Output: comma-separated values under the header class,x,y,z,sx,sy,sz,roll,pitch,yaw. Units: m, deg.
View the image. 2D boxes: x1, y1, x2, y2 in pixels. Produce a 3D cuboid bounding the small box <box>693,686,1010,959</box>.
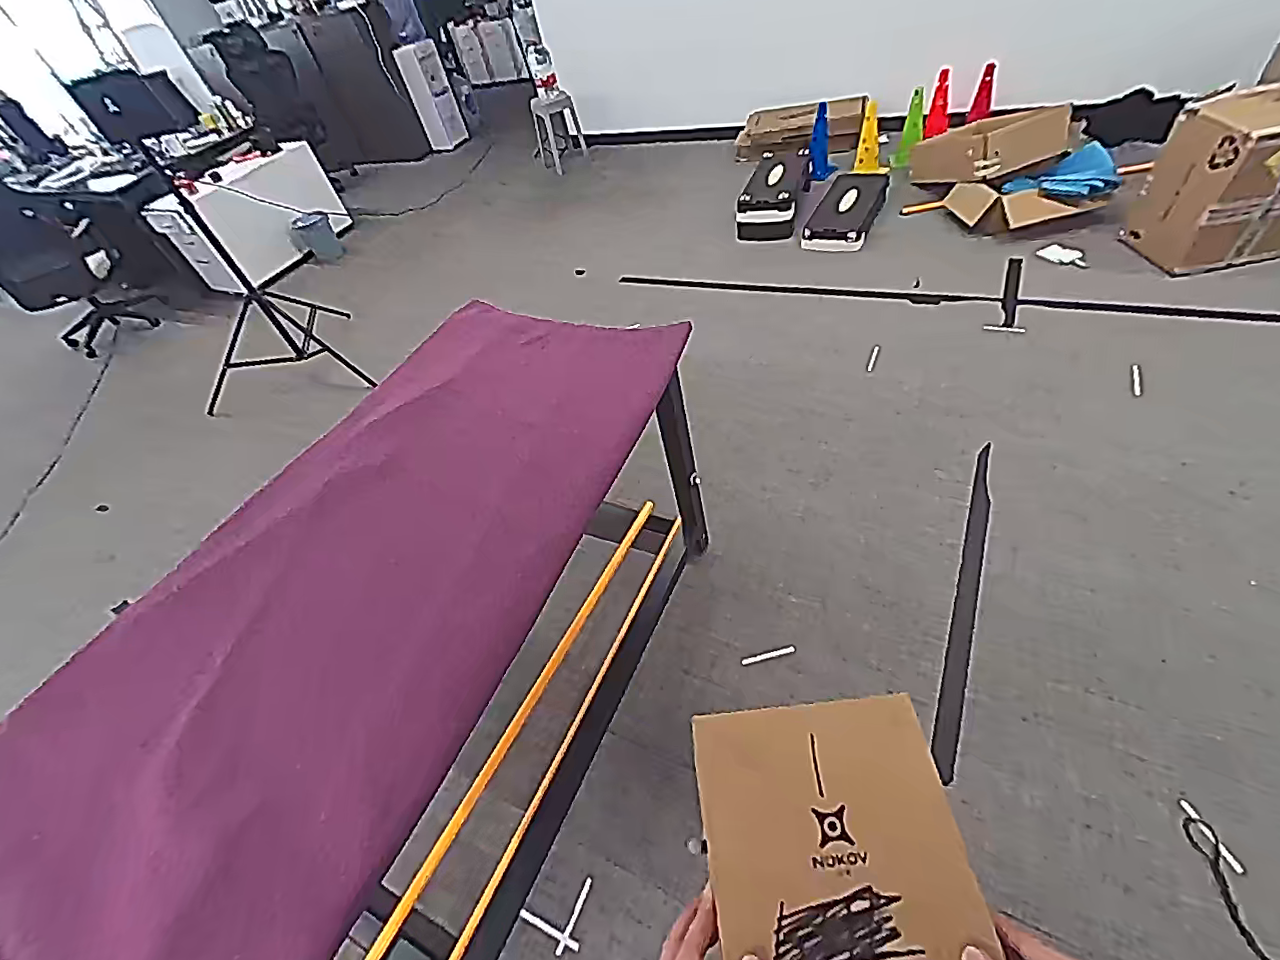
class,x,y,z,sx,sy,sz,roll,pitch,yaw
small box,0.134,0.277,0.415,0.168,0.176,0.179,-7,53,1
